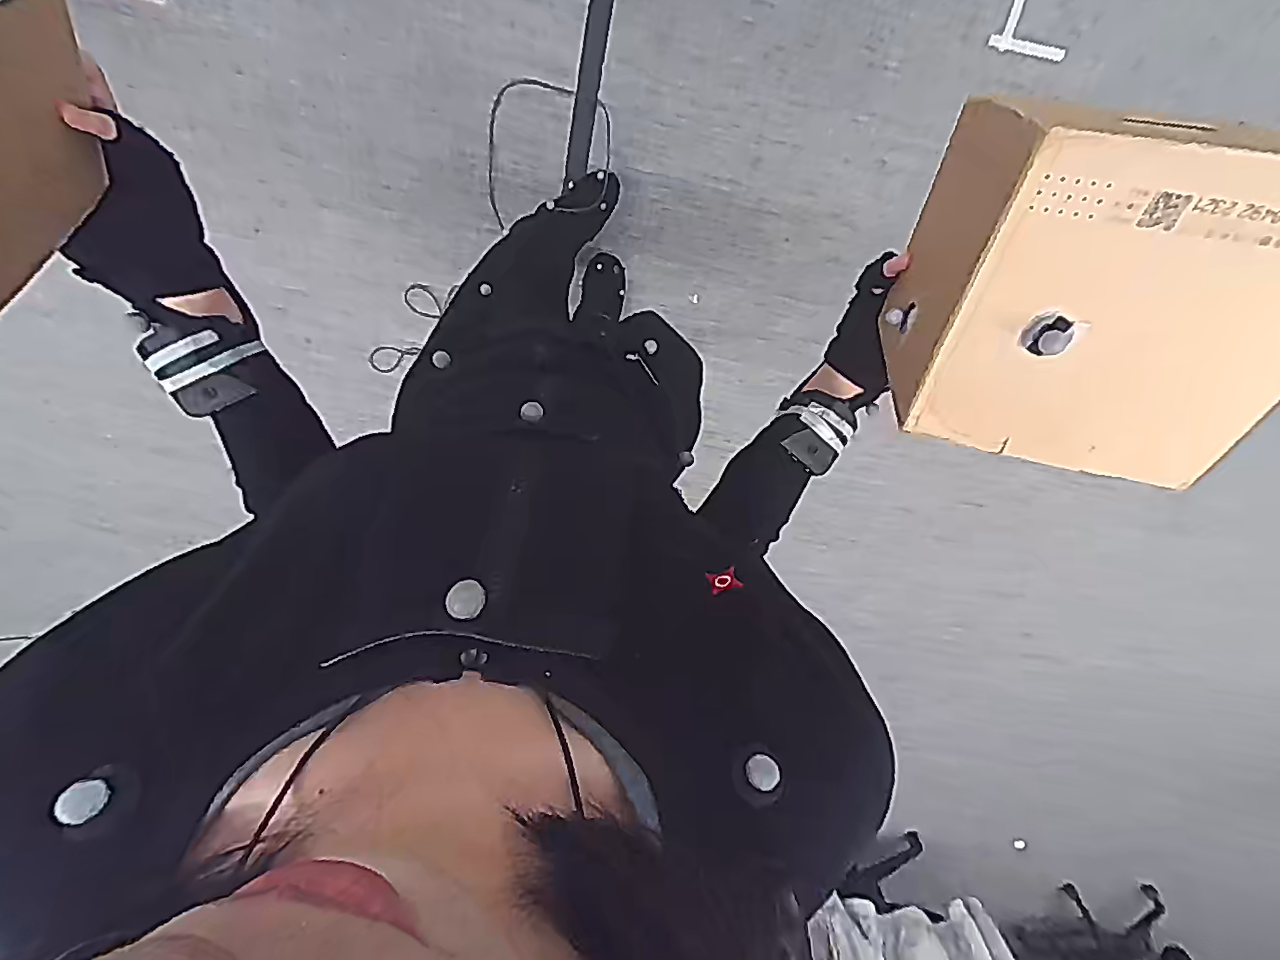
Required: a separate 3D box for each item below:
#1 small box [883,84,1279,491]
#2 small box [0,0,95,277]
[{"bbox_3d":[0.269,-0.125,0.326,0.168,0.179,0.176,14,132,7],"label":"small box"},{"bbox_3d":[-0.354,-0.184,0.190,0.168,0.179,0.176,8,136,-27],"label":"small box"}]
